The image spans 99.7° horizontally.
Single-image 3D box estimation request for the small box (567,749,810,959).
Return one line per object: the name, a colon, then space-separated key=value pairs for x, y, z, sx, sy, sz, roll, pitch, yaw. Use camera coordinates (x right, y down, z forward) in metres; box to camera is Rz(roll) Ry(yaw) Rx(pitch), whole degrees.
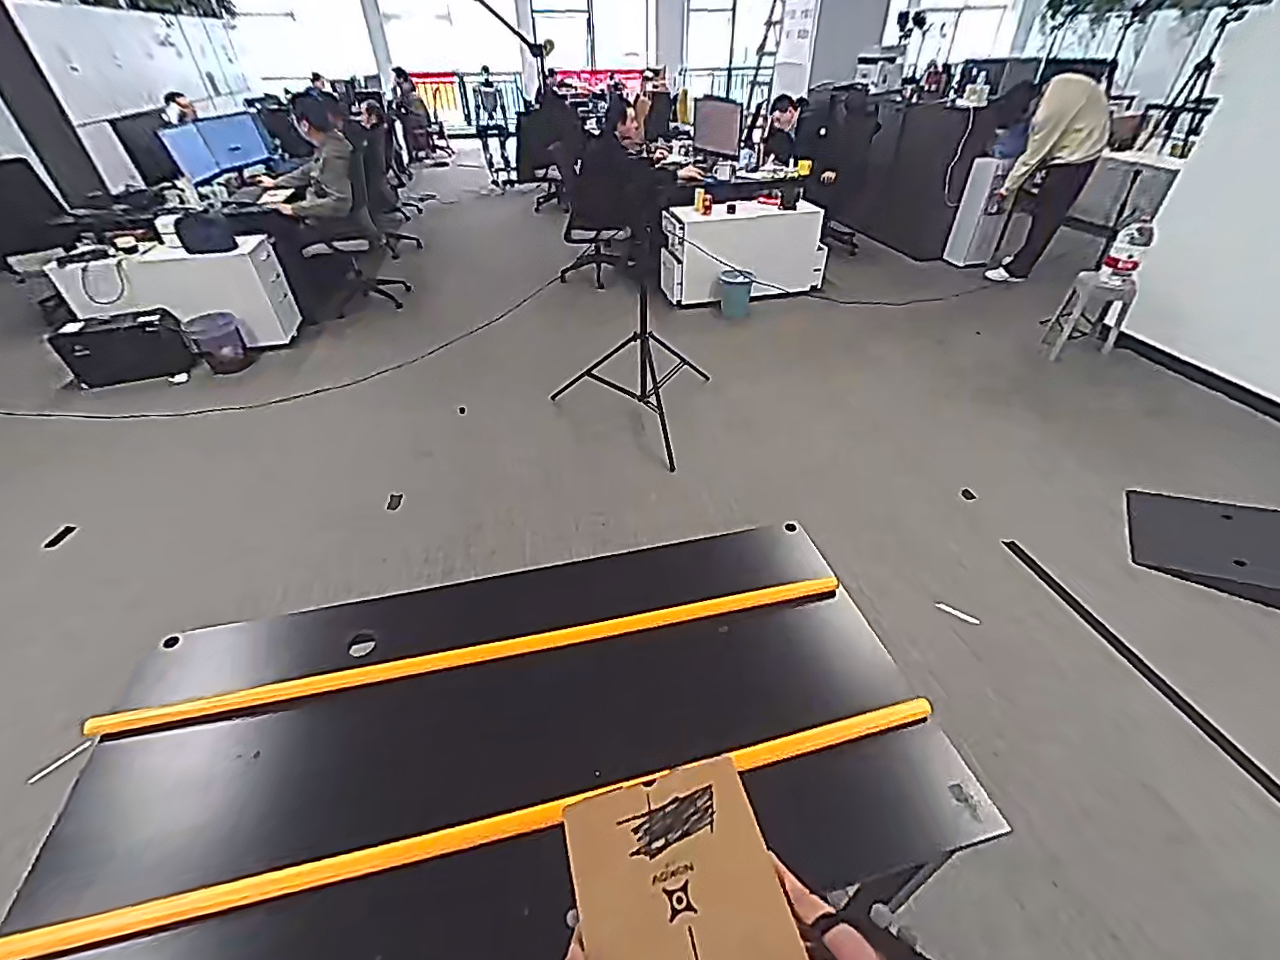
small box: x=0.034 y=0.392 z=0.504 sx=0.168 sy=0.176 sz=0.179 roll=-13 pitch=43 yaw=-10
